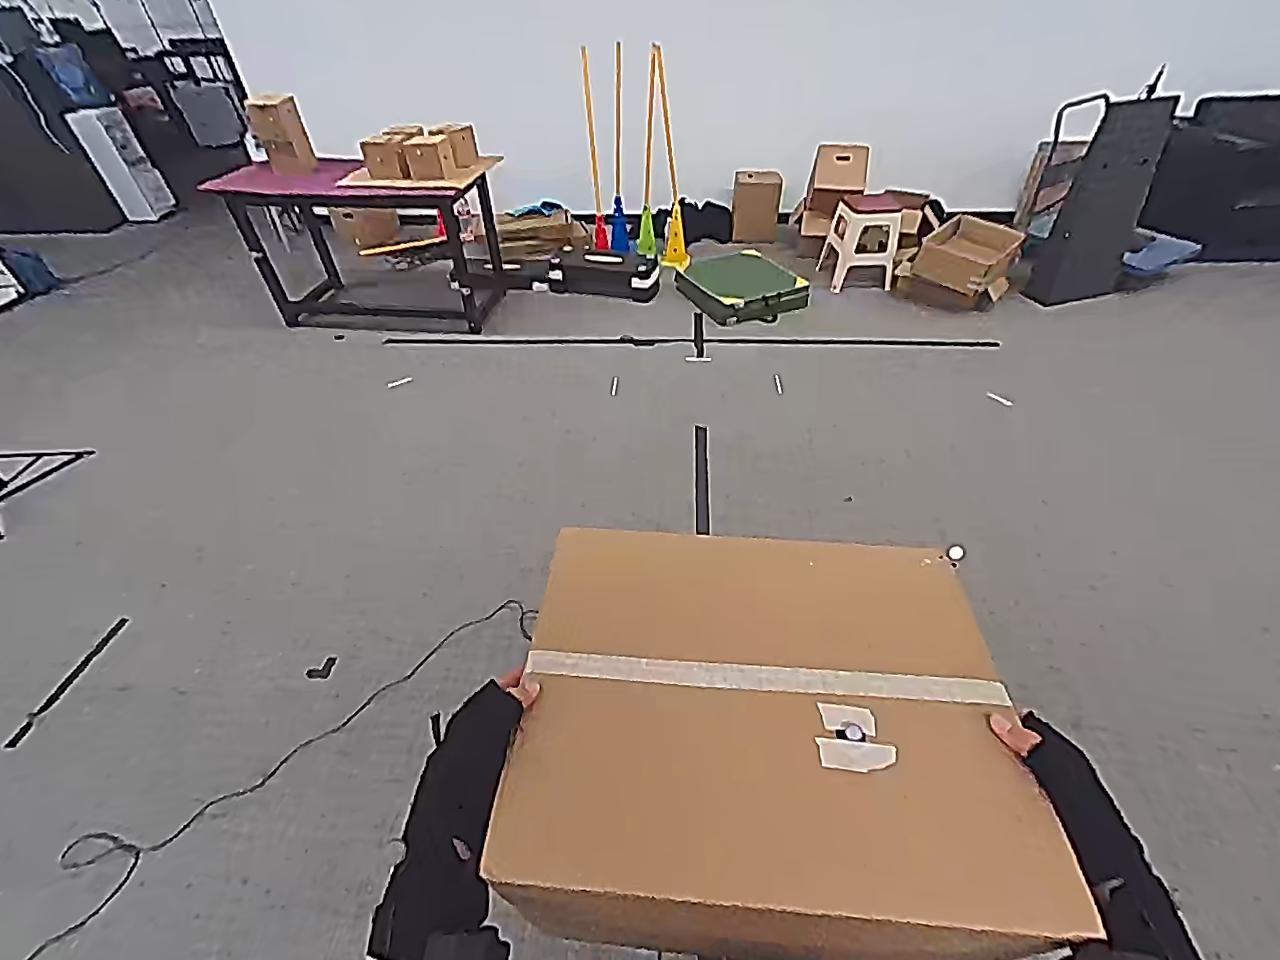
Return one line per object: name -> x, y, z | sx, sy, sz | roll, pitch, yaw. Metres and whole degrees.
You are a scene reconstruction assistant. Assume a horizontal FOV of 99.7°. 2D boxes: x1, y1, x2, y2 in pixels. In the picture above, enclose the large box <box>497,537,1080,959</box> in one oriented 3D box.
large box -> 0.104, 0.283, 0.574 | 0.408, 0.320, 0.320 | 3, 45, 3
